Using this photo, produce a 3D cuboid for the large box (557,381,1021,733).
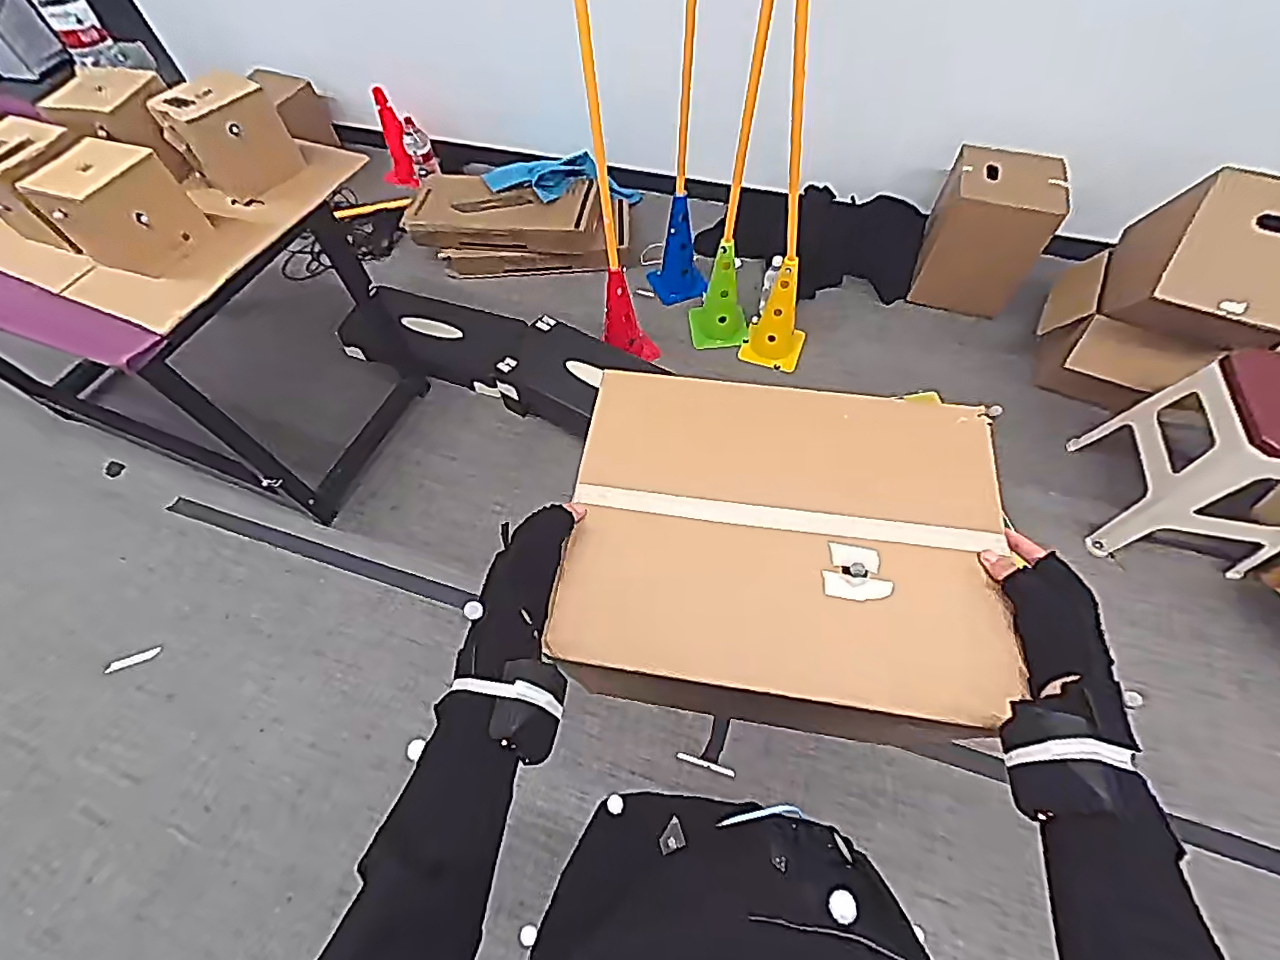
[{"bbox_3d":[0.144,0.109,0.661,0.408,0.320,0.320,7,64,6],"label":"large box"}]
